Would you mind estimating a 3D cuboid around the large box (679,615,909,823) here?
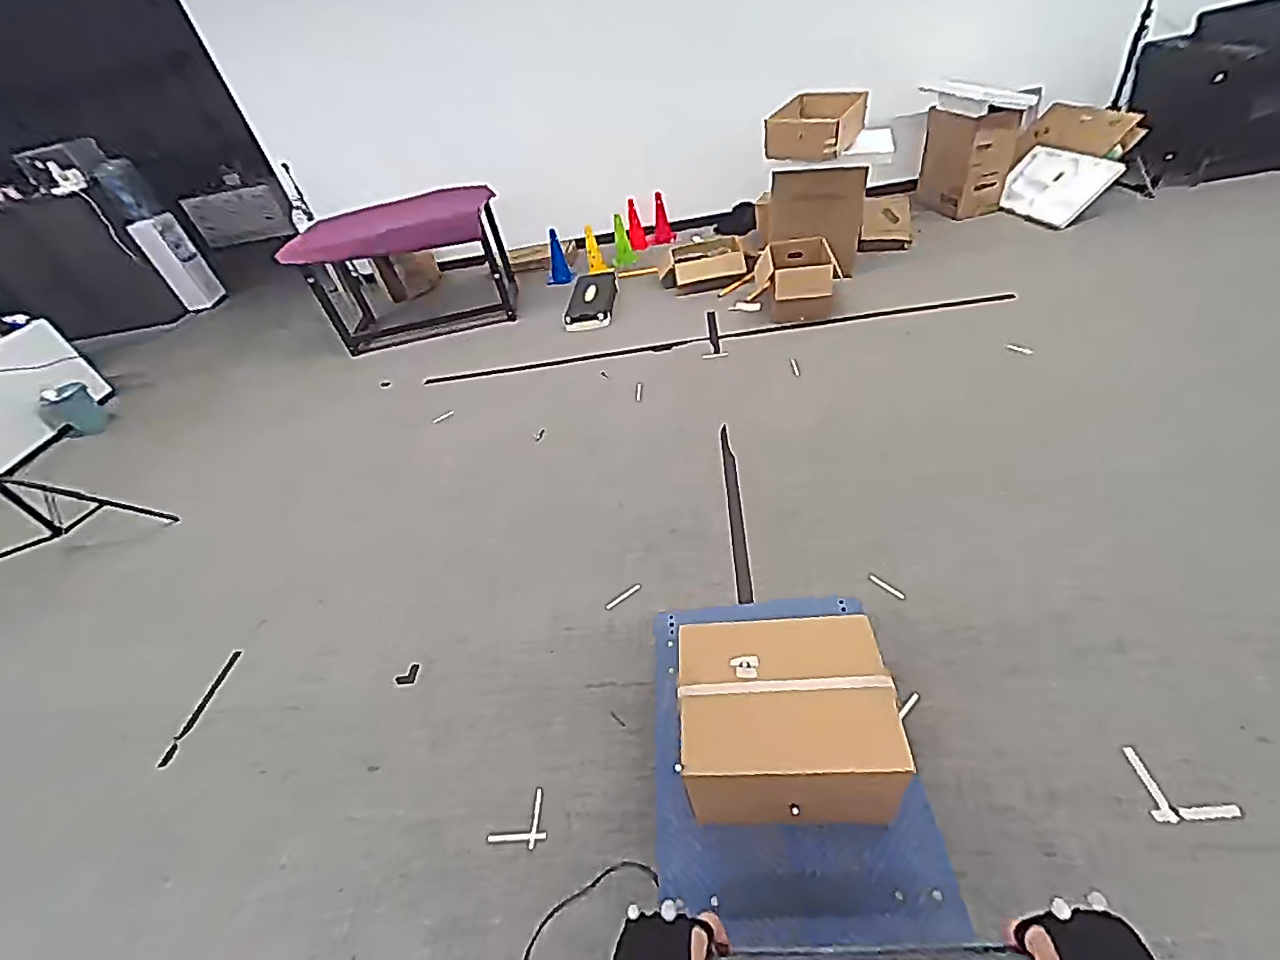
[{"bbox_3d":[0.307,0.524,1.174,0.408,0.320,0.320,-6,41,8],"label":"large box"}]
